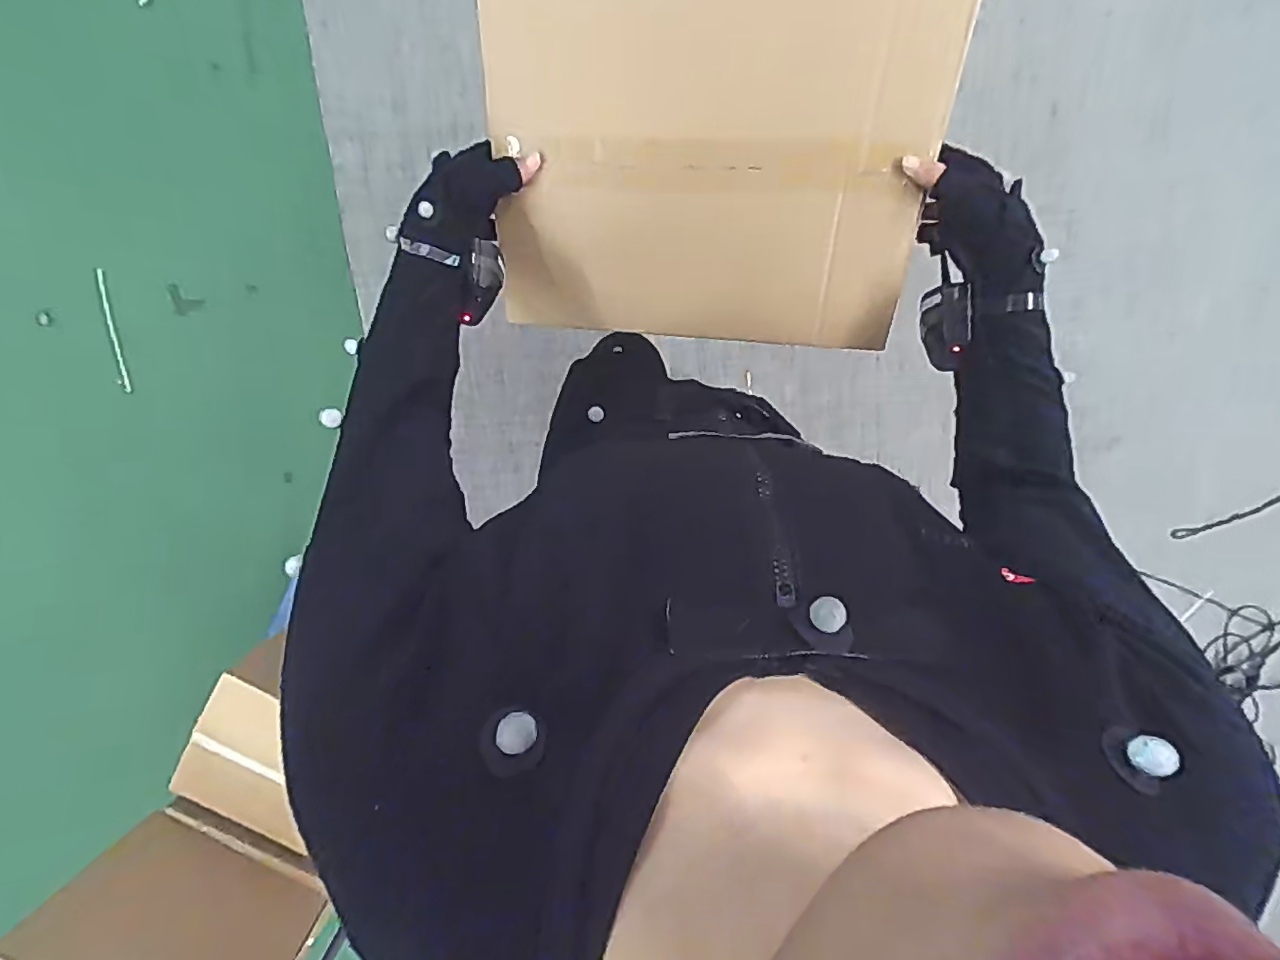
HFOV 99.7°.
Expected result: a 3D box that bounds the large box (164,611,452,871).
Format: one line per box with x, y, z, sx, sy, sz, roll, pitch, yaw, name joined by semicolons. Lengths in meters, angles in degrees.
-0.722;0.568;1.237;0.408;0.320;0.320;31;100;-5;large box
